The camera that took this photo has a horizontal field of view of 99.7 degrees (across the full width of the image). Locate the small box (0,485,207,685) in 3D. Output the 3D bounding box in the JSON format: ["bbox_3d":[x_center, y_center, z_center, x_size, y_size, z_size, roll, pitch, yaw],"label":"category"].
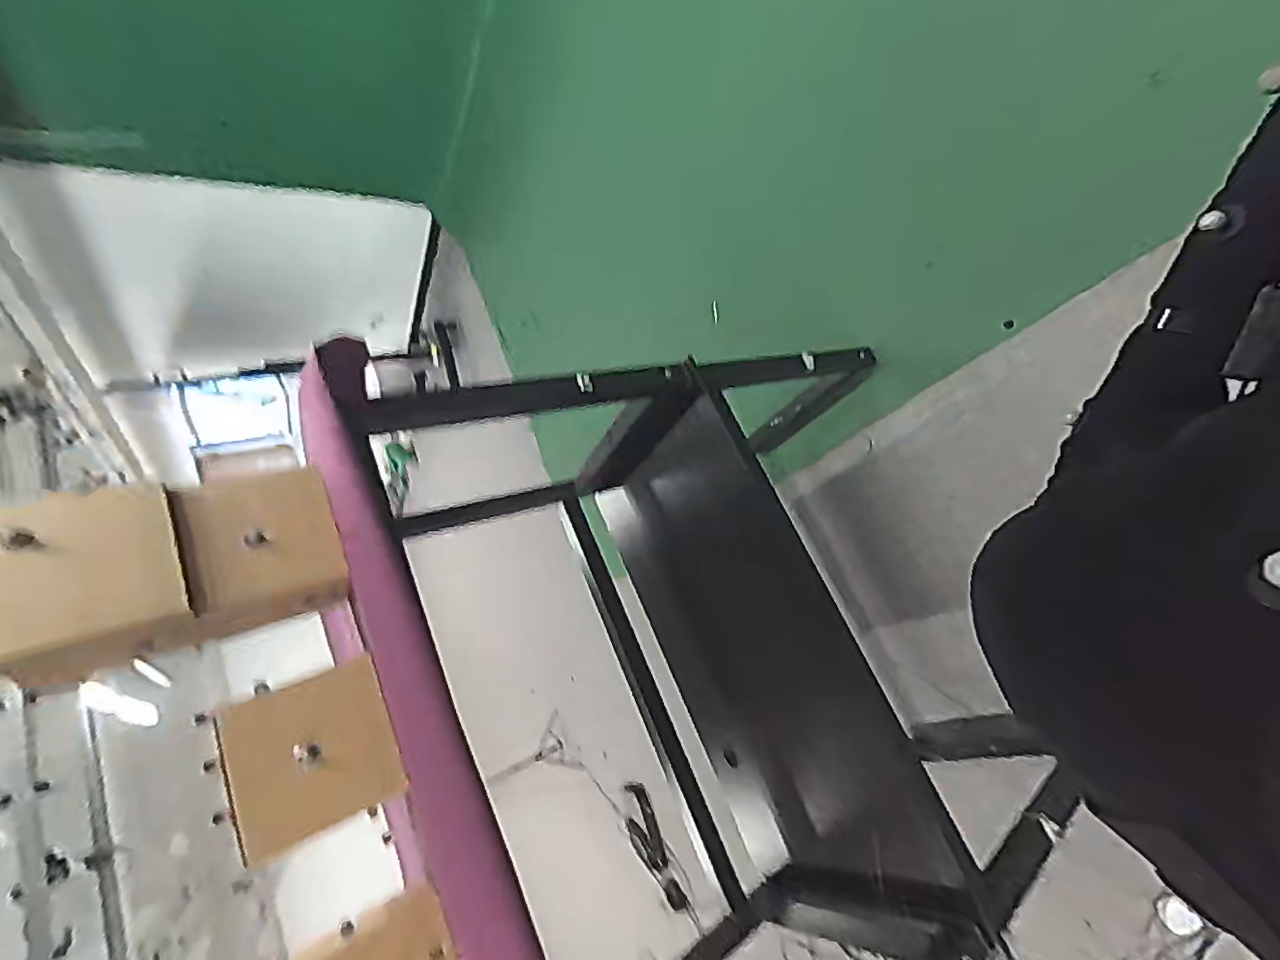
[{"bbox_3d":[-0.645,0.118,0.647,0.168,0.176,0.179,-45,66,51],"label":"small box"}]

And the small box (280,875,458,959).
[{"bbox_3d":[-0.307,0.600,0.632,0.168,0.176,0.179,63,143,19],"label":"small box"}]

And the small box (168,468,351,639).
[{"bbox_3d":[-0.523,0.096,0.758,0.168,0.176,0.179,-44,67,51],"label":"small box"}]
